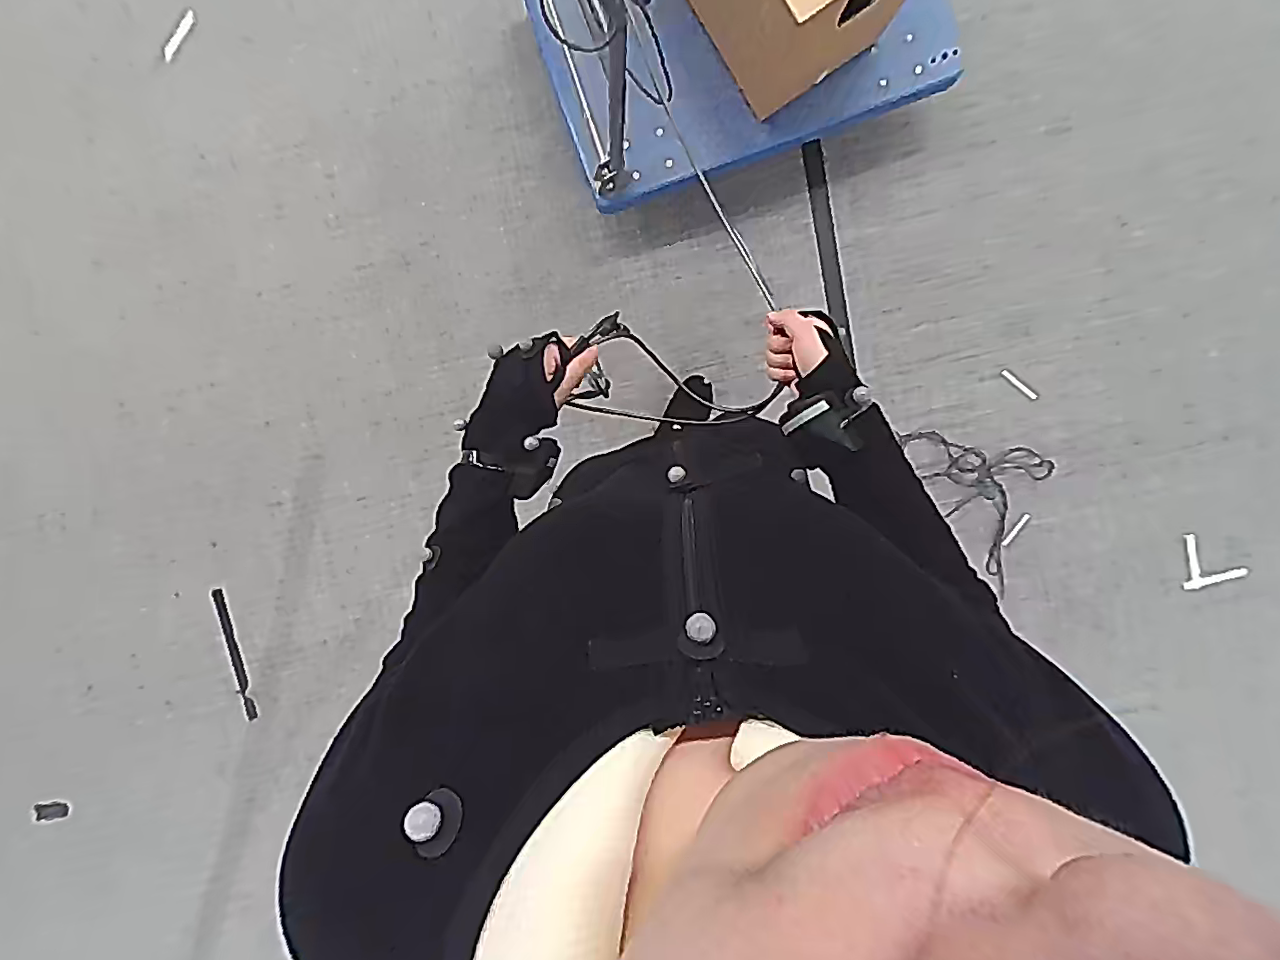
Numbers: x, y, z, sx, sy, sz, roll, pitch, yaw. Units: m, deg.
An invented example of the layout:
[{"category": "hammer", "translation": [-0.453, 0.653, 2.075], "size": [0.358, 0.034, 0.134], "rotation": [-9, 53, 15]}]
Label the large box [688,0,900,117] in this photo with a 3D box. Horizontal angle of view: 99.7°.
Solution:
[{"category": "large box", "translation": [0.281, -1.022, 1.017], "size": [0.320, 0.320, 0.408], "rotation": [-34, 97, 5]}]
